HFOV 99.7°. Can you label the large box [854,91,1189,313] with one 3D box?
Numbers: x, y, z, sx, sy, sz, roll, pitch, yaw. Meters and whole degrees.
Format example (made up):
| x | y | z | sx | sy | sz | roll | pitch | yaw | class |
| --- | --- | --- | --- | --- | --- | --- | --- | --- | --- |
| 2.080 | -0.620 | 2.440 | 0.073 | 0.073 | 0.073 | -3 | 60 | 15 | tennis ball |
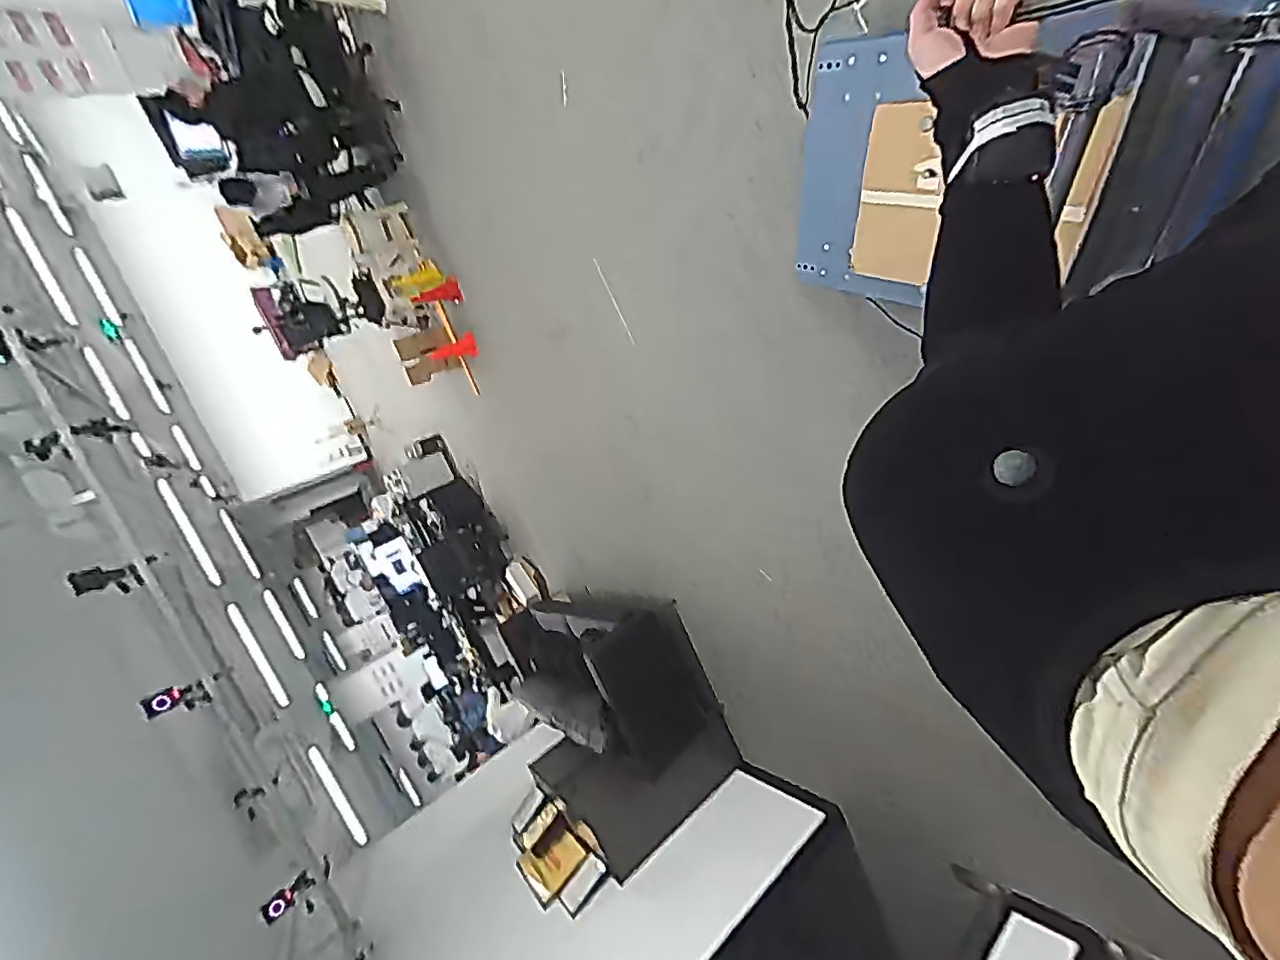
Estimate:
| x | y | z | sx | sy | sz | roll | pitch | yaw | class |
| --- | --- | --- | --- | --- | --- | --- | --- | --- | --- |
| 0.704 | -0.552 | 1.054 | 0.408 | 0.320 | 0.320 | 34 | 139 | 41 | large box |
